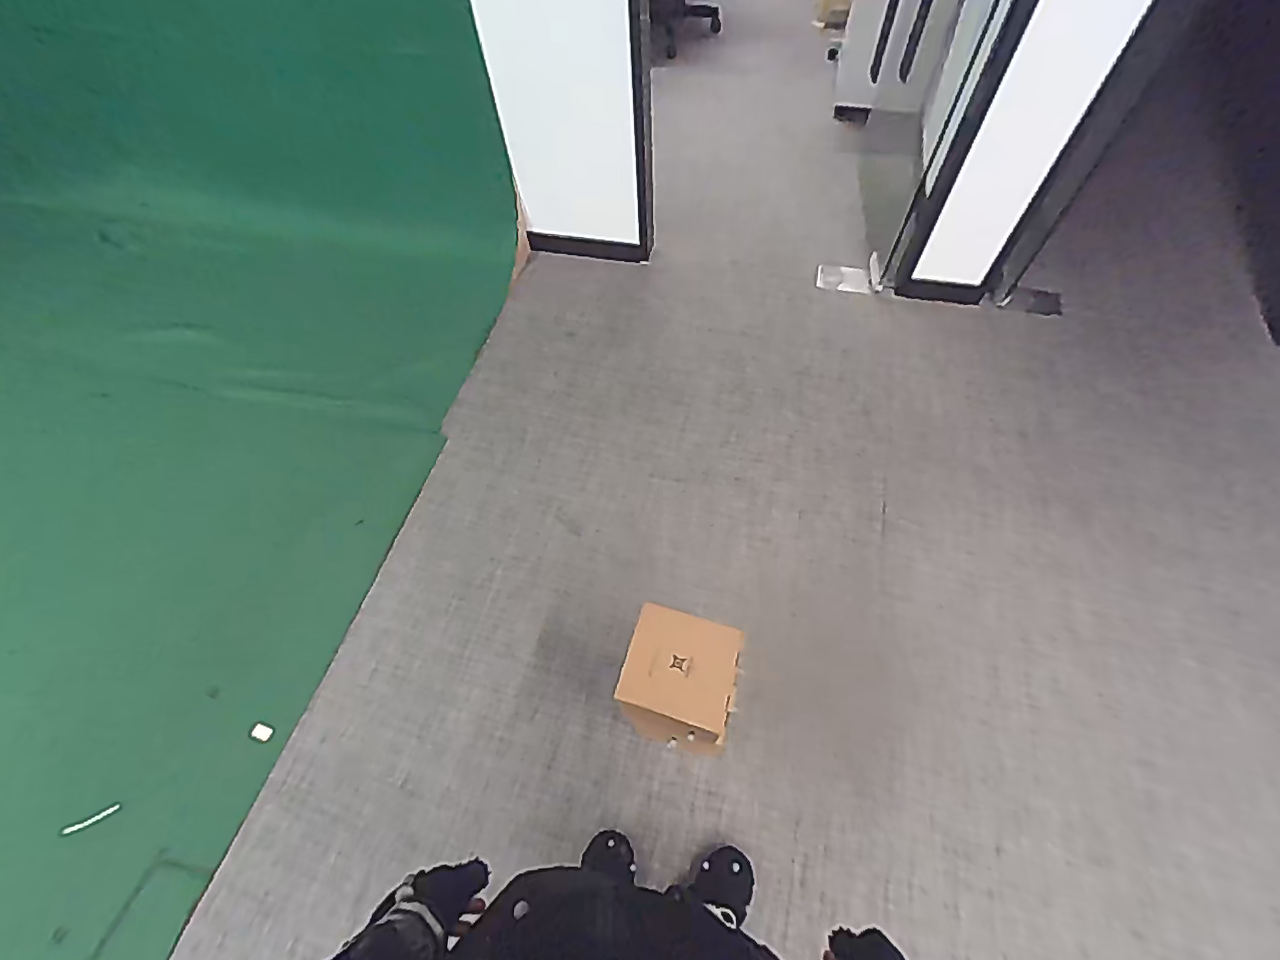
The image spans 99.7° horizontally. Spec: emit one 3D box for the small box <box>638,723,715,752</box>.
[{"bbox_3d":[0.102,0.499,1.221,0.179,0.176,0.168,16,60,12],"label":"small box"}]

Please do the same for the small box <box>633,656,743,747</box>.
[{"bbox_3d":[0.093,0.422,1.080,0.179,0.176,0.168,14,61,11],"label":"small box"}]

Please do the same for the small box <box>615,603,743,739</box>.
[{"bbox_3d":[0.071,0.338,0.942,0.179,0.176,0.168,13,60,13],"label":"small box"}]
